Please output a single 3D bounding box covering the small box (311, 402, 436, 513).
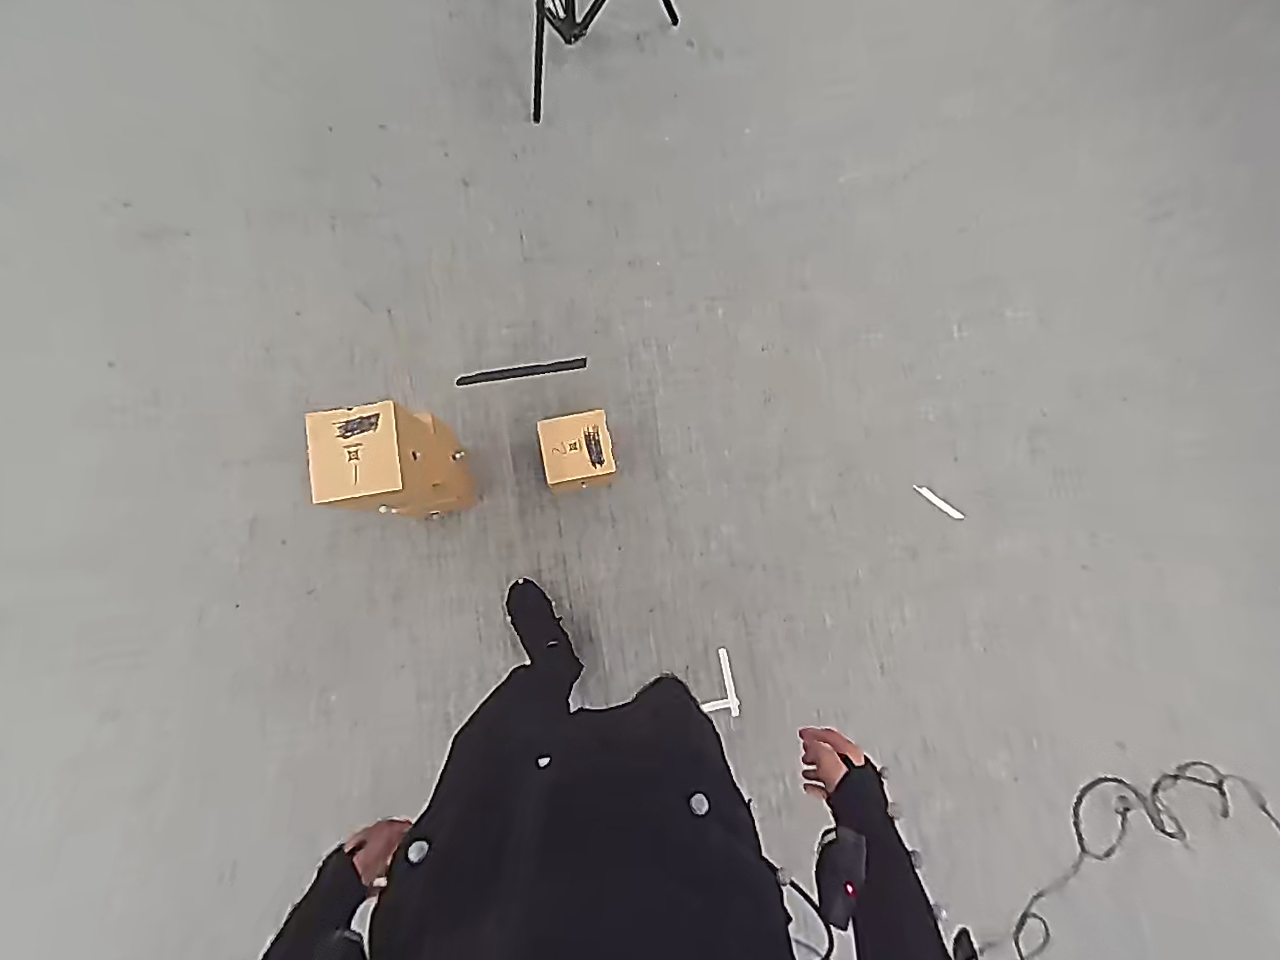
[{"bbox_3d":[-0.522,-0.038,1.076,0.168,0.176,0.179,-9,82,-3],"label":"small box"}]

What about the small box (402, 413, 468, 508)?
[{"bbox_3d":[-0.517,-0.037,1.242,0.179,0.176,0.168,-13,81,-4],"label":"small box"}]

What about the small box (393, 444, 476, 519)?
[{"bbox_3d":[-0.537,-0.005,1.402,0.168,0.176,0.179,-12,82,-4],"label":"small box"}]
